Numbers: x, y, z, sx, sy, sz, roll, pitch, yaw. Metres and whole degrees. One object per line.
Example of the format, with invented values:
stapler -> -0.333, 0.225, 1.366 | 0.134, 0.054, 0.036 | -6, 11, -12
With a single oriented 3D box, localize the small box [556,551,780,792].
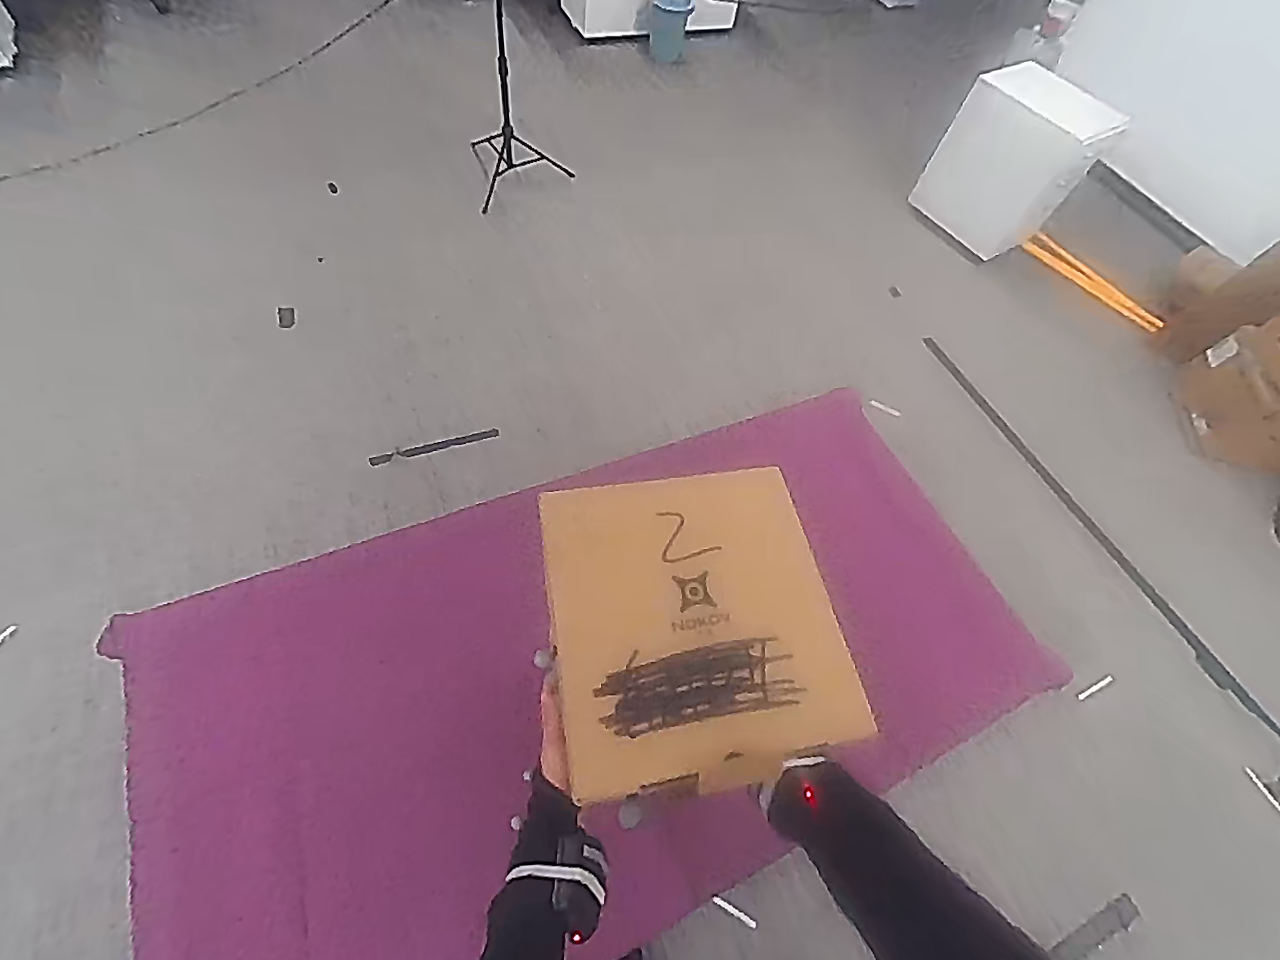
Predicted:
small box -> 0.009, 0.190, 0.527 | 0.168, 0.176, 0.179 | -8, 62, -11
